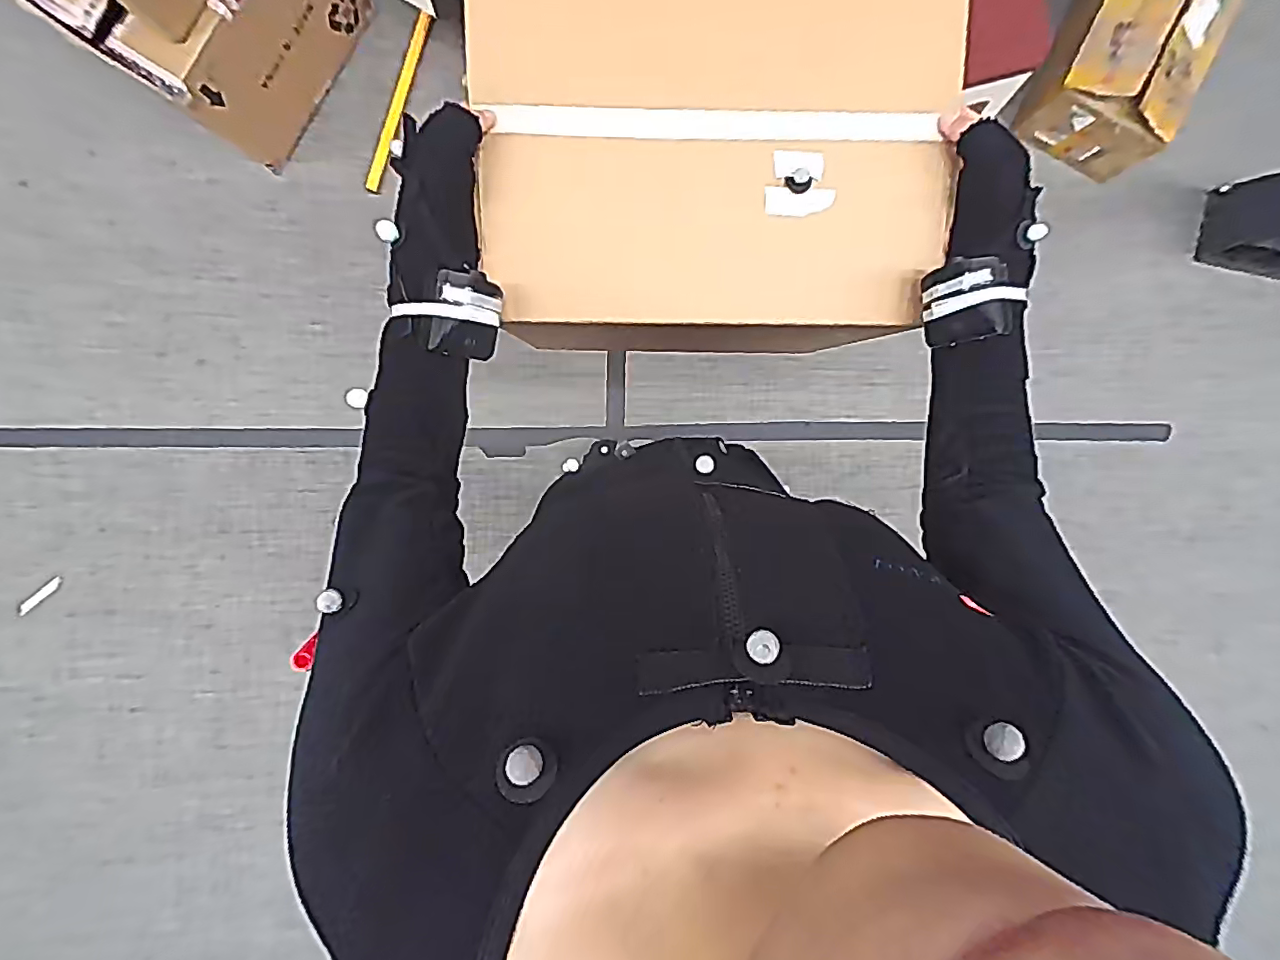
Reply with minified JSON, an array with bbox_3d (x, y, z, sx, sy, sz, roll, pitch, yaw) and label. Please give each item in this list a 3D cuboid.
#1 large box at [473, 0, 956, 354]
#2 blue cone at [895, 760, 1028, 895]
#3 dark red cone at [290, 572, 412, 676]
[{"bbox_3d":[0.056,-0.314,0.600,0.408,0.320,0.320,-1,99,-3],"label":"large box"},{"bbox_3d":[0.863,0.935,1.439,0.192,0.380,0.193,3,94,-5],"label":"blue cone"},{"bbox_3d":[-0.696,0.359,1.268,0.201,0.394,0.202,6,94,-5],"label":"dark red cone"}]
